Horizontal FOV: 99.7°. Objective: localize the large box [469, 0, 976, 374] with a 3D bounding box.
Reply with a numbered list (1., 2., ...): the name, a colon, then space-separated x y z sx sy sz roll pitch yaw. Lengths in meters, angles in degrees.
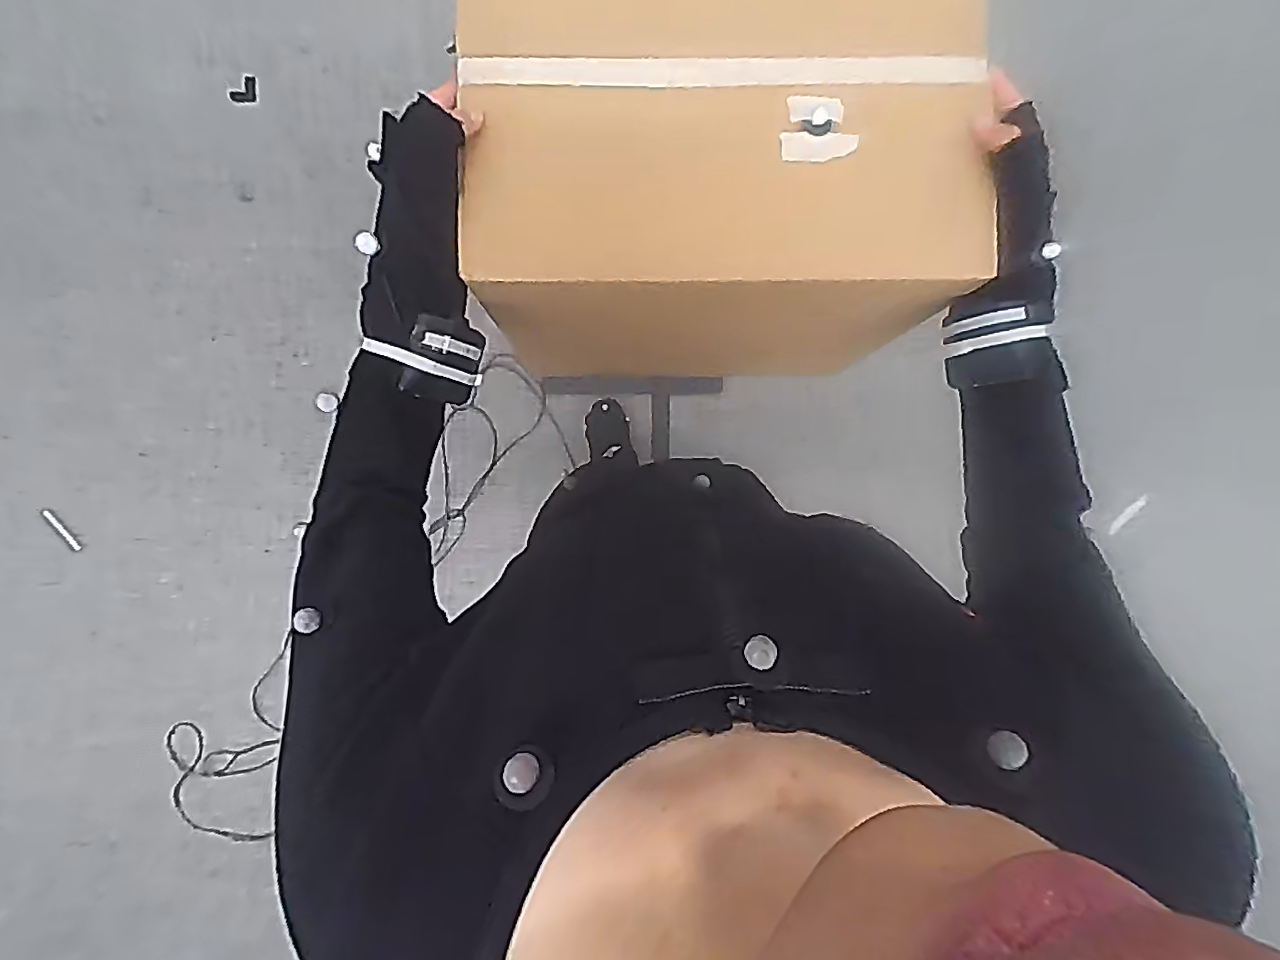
1. large box: 0.059 -0.306 0.579 0.408 0.320 0.320 -1 87 -1
